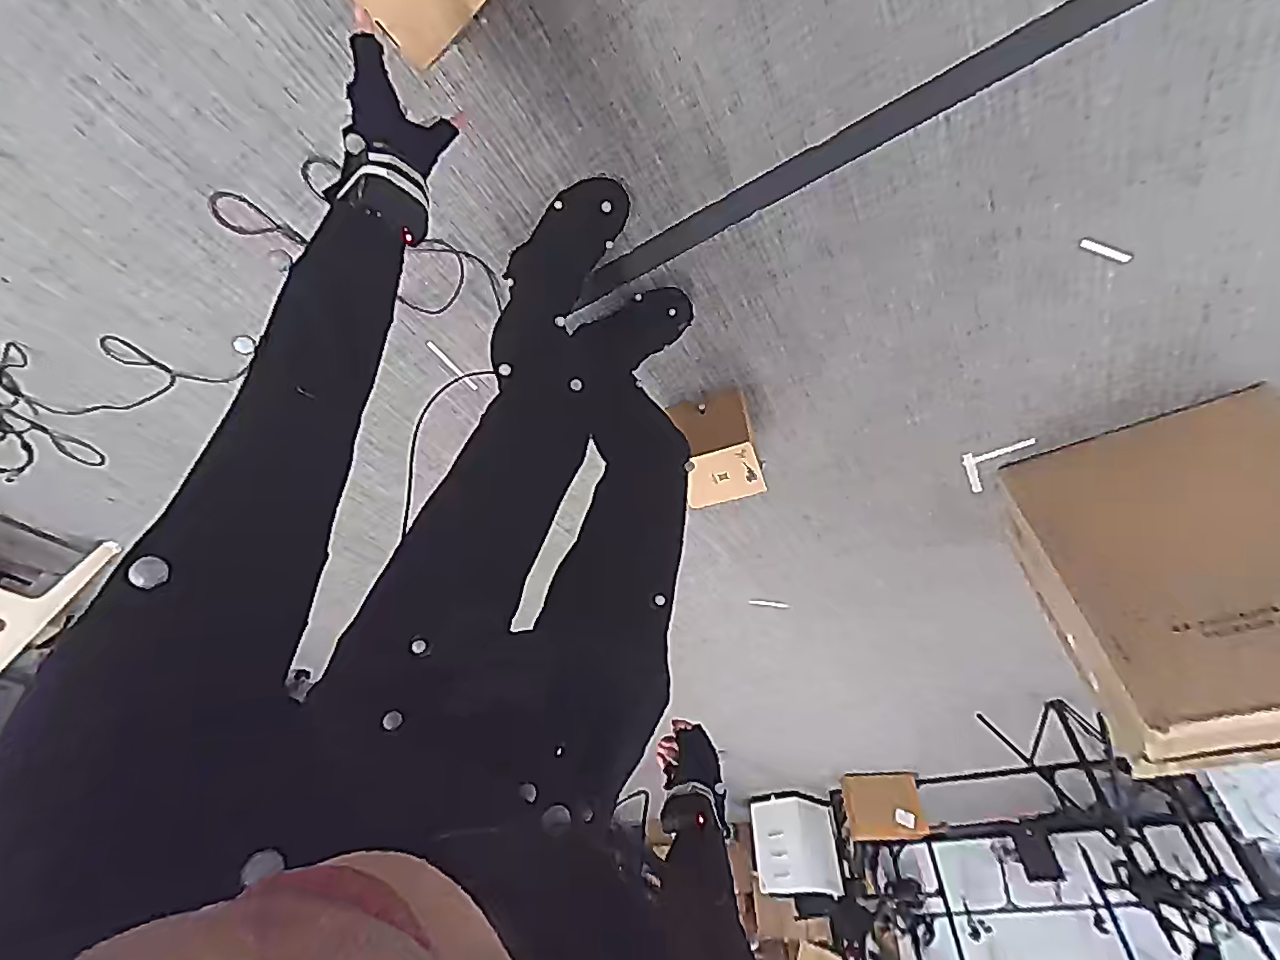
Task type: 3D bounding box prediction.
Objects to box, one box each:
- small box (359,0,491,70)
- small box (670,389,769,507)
[{"bbox_3d":[-0.228,-0.599,0.579,0.179,0.176,0.168,-27,133,27],"label":"small box"},{"bbox_3d":[0.172,-0.070,1.181,0.179,0.176,0.168,-14,137,17],"label":"small box"}]
